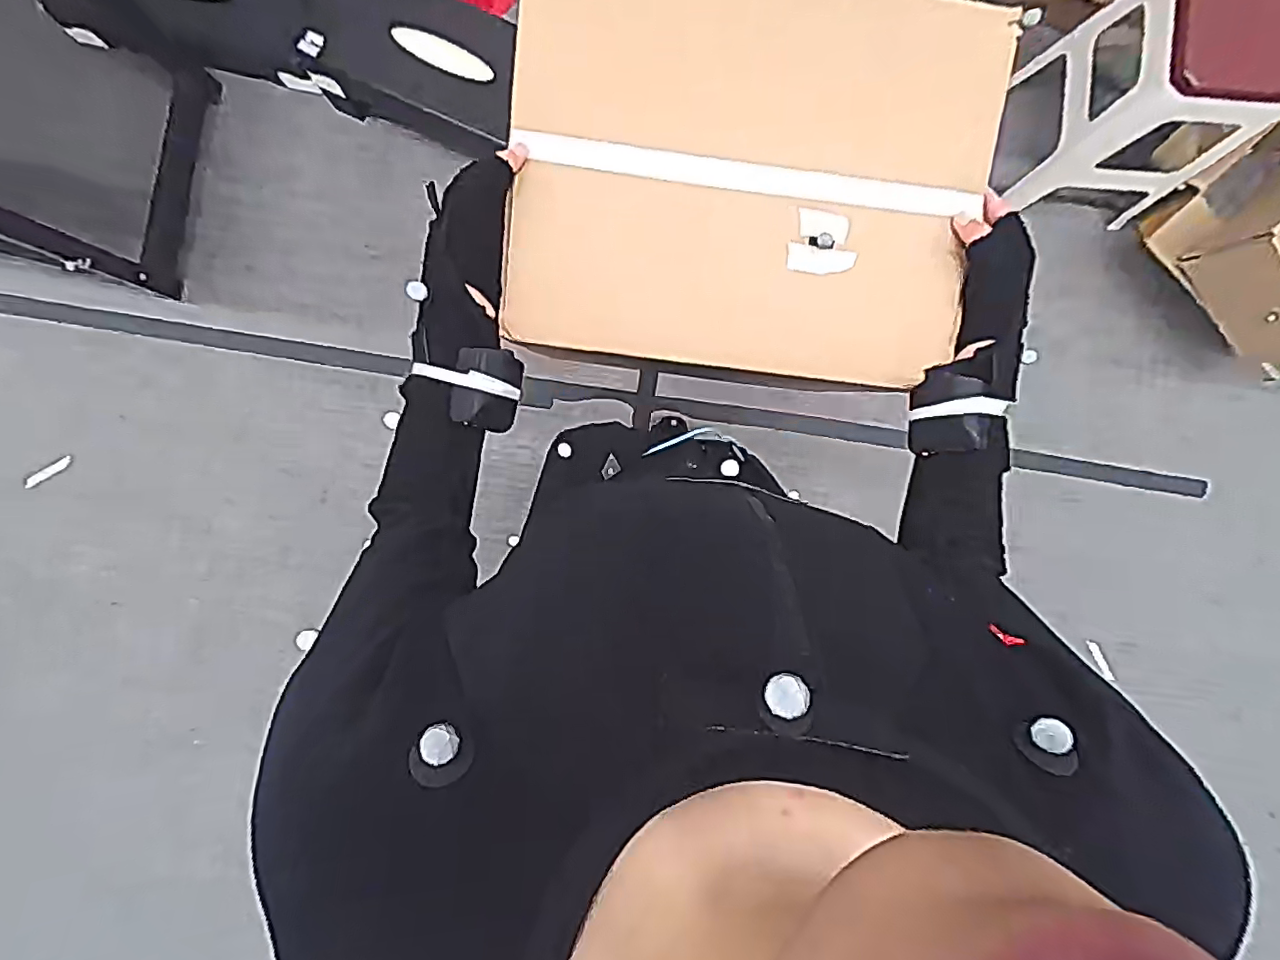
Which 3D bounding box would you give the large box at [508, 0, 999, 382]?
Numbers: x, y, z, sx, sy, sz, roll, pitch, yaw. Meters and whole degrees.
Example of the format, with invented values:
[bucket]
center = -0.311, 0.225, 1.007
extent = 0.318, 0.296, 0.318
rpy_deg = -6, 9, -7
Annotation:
[large box]
center = 0.084, -0.288, 0.615
extent = 0.408, 0.320, 0.320
rpy_deg = 6, 101, -4
